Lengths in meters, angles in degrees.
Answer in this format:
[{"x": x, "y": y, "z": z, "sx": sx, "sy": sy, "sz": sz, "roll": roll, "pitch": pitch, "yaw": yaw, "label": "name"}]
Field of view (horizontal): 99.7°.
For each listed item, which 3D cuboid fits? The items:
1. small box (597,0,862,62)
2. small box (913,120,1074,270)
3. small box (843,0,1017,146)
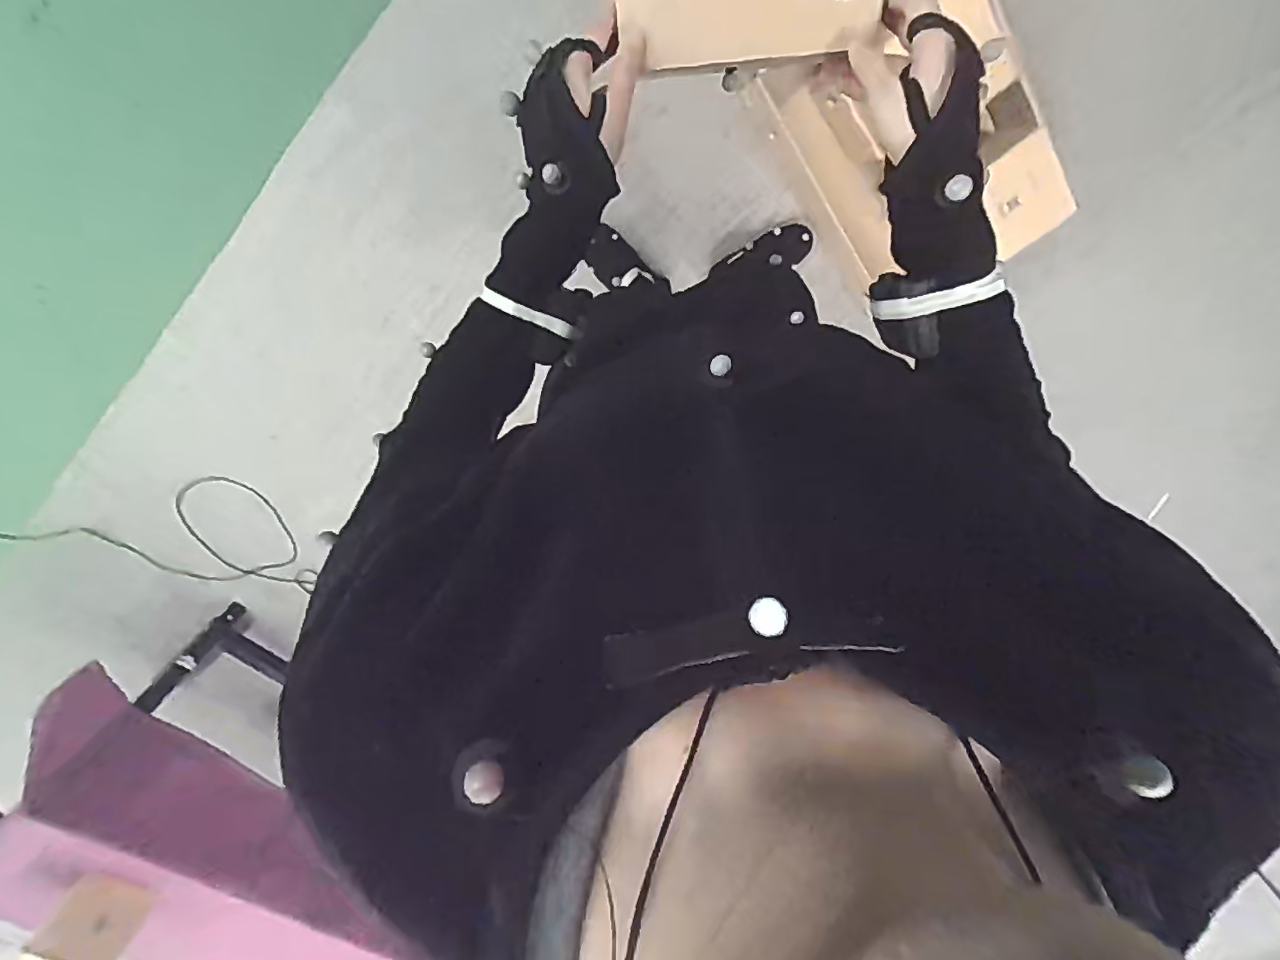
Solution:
[{"x": 0.060, "y": -0.411, "z": 0.385, "sx": 0.179, "sy": 0.176, "sz": 0.168, "roll": 0, "pitch": 125, "yaw": 9, "label": "small box"}, {"x": 0.636, "y": -0.521, "z": 1.000, "sx": 0.179, "sy": 0.176, "sz": 0.168, "roll": -34, "pitch": 114, "yaw": 18, "label": "small box"}, {"x": 0.472, "y": -0.692, "z": 0.905, "sx": 0.168, "sy": 0.176, "sz": 0.179, "roll": -37, "pitch": 114, "yaw": 19, "label": "small box"}]
